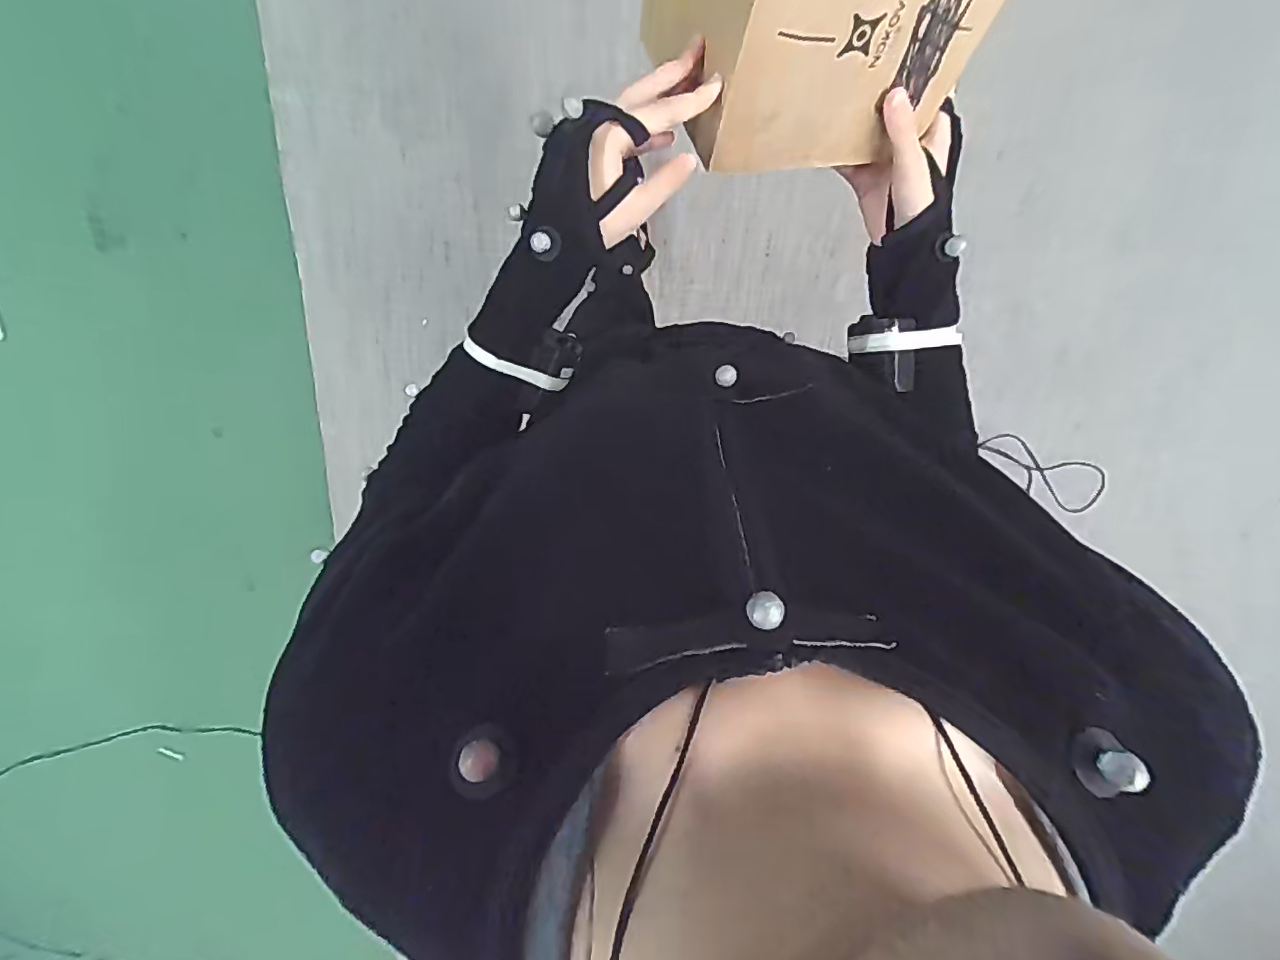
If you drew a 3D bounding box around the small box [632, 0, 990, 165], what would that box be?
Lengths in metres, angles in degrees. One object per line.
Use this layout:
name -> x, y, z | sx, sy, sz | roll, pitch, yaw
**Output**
small box -> 0.108, -0.341, 0.355 | 0.179, 0.168, 0.176 | -11, 66, -15
